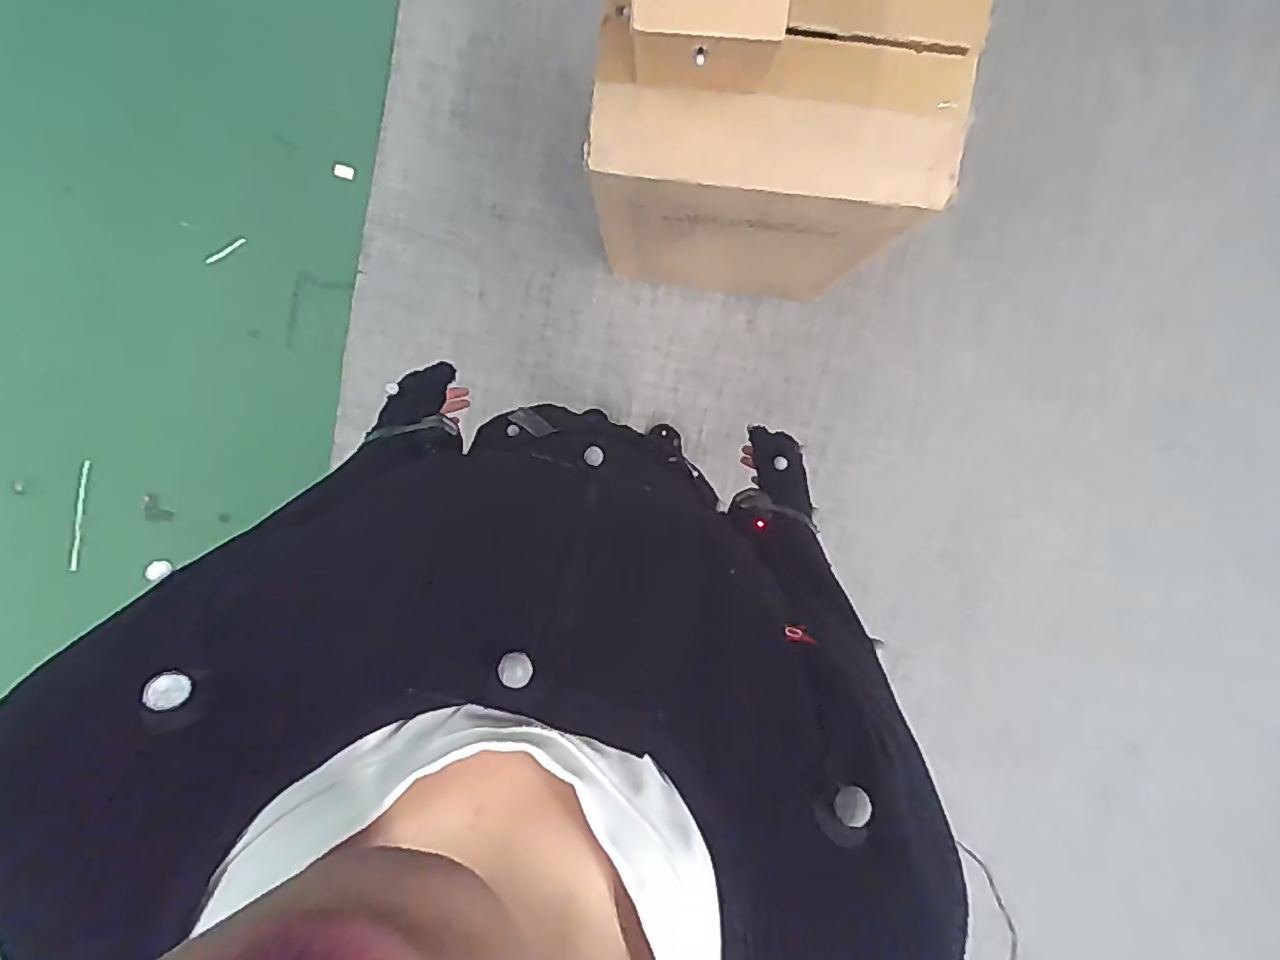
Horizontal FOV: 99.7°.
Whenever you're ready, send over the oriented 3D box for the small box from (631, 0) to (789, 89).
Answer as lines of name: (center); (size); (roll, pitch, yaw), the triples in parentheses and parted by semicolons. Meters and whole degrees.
small box: (0.084, -0.605, 0.659); (0.179, 0.176, 0.168); (4, 109, -1)
